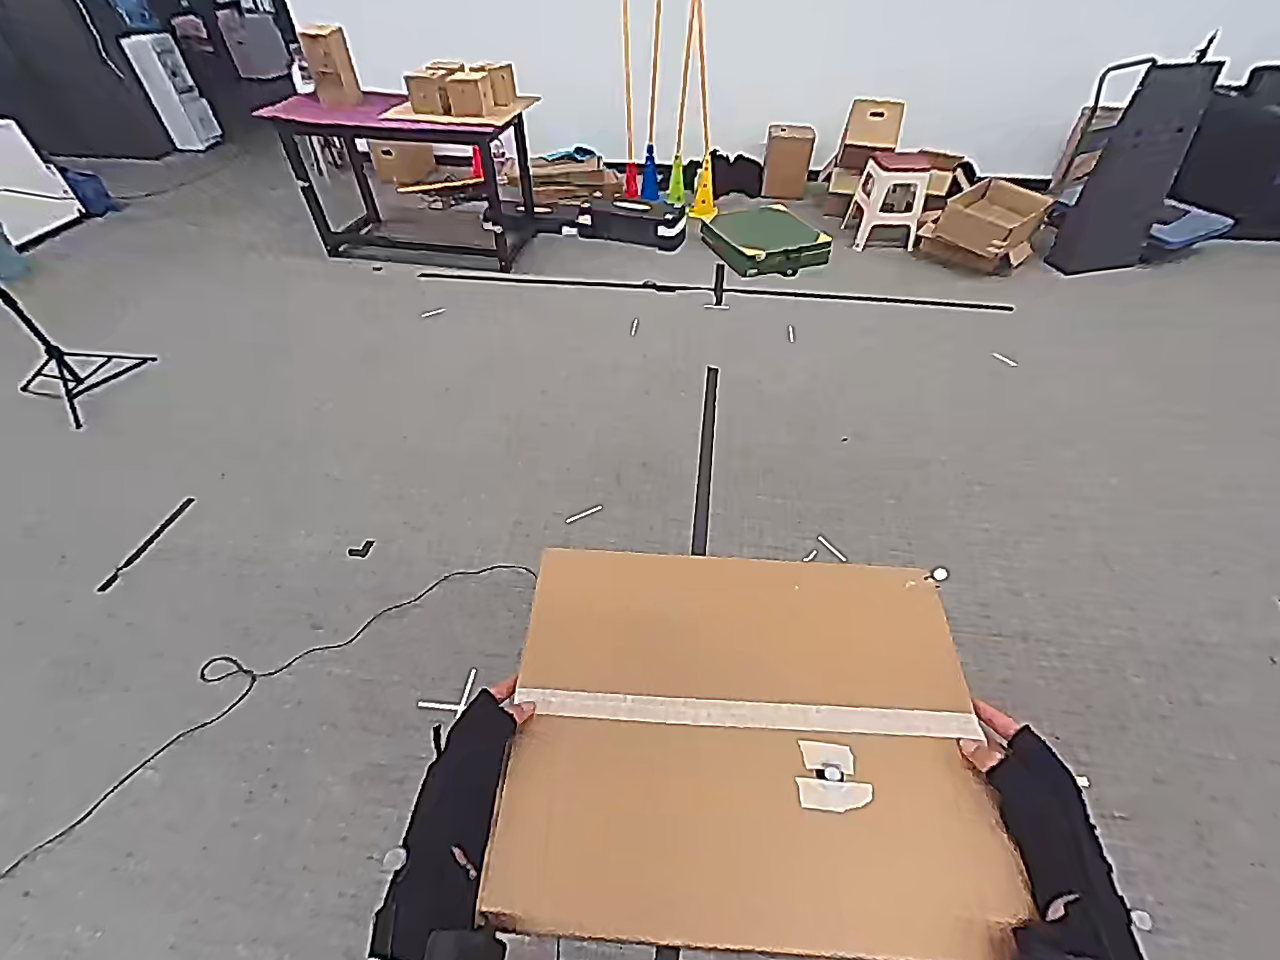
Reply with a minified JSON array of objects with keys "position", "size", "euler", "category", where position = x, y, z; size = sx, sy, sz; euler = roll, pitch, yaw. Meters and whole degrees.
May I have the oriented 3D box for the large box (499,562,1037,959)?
[{"position":[0.095,0.307,0.601],"size":[0.408,0.320,0.320],"euler":[3,53,1],"category":"large box"}]
